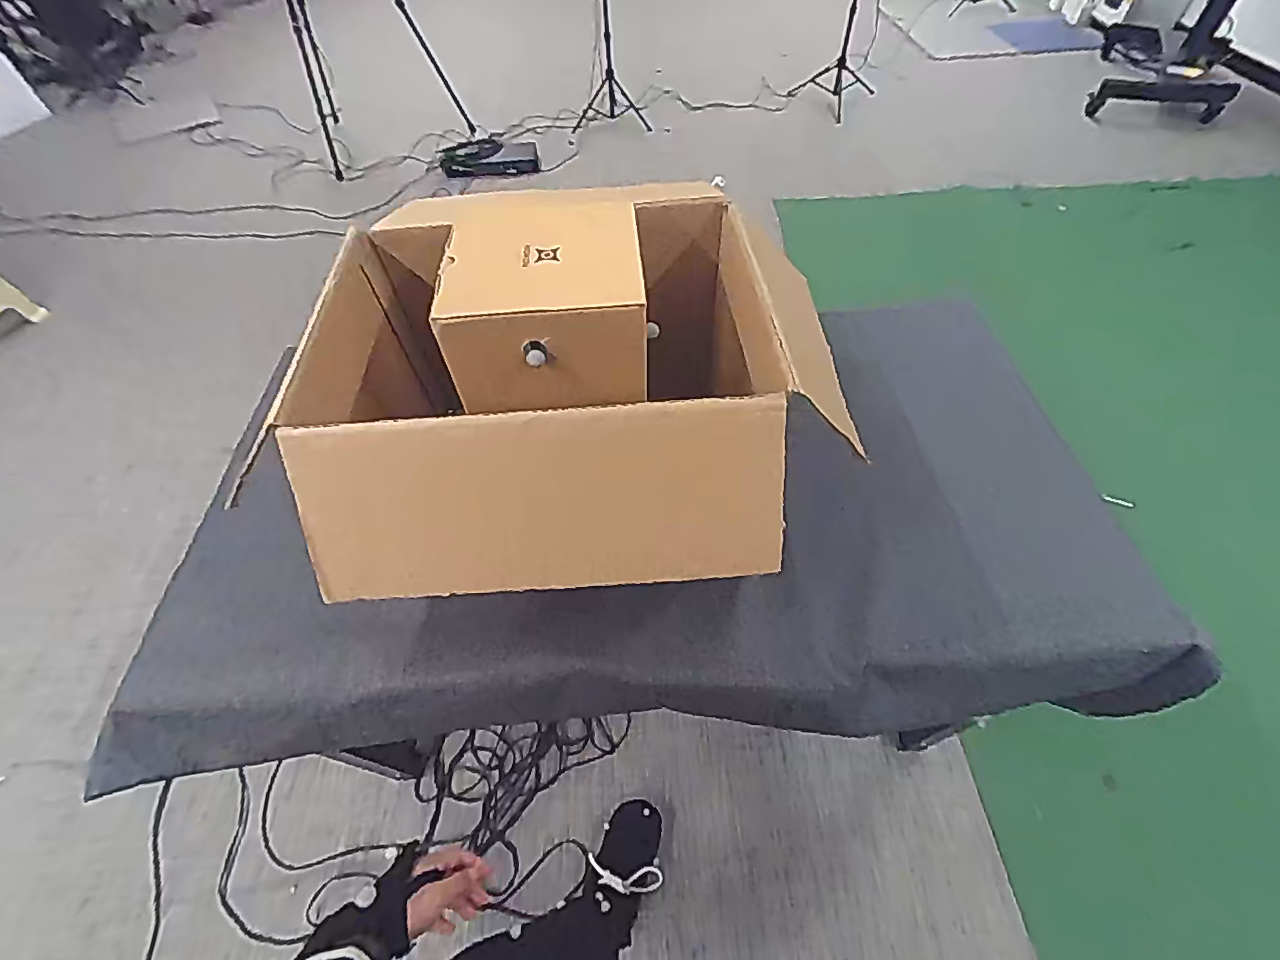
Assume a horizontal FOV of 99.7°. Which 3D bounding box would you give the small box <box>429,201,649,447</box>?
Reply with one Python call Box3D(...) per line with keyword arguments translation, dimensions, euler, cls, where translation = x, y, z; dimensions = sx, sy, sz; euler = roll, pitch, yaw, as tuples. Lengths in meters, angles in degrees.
Box3D(translation=(-0.084, -0.149, 0.538), dimensions=(0.179, 0.176, 0.168), euler=(-4, 54, -1), cls="small box")
